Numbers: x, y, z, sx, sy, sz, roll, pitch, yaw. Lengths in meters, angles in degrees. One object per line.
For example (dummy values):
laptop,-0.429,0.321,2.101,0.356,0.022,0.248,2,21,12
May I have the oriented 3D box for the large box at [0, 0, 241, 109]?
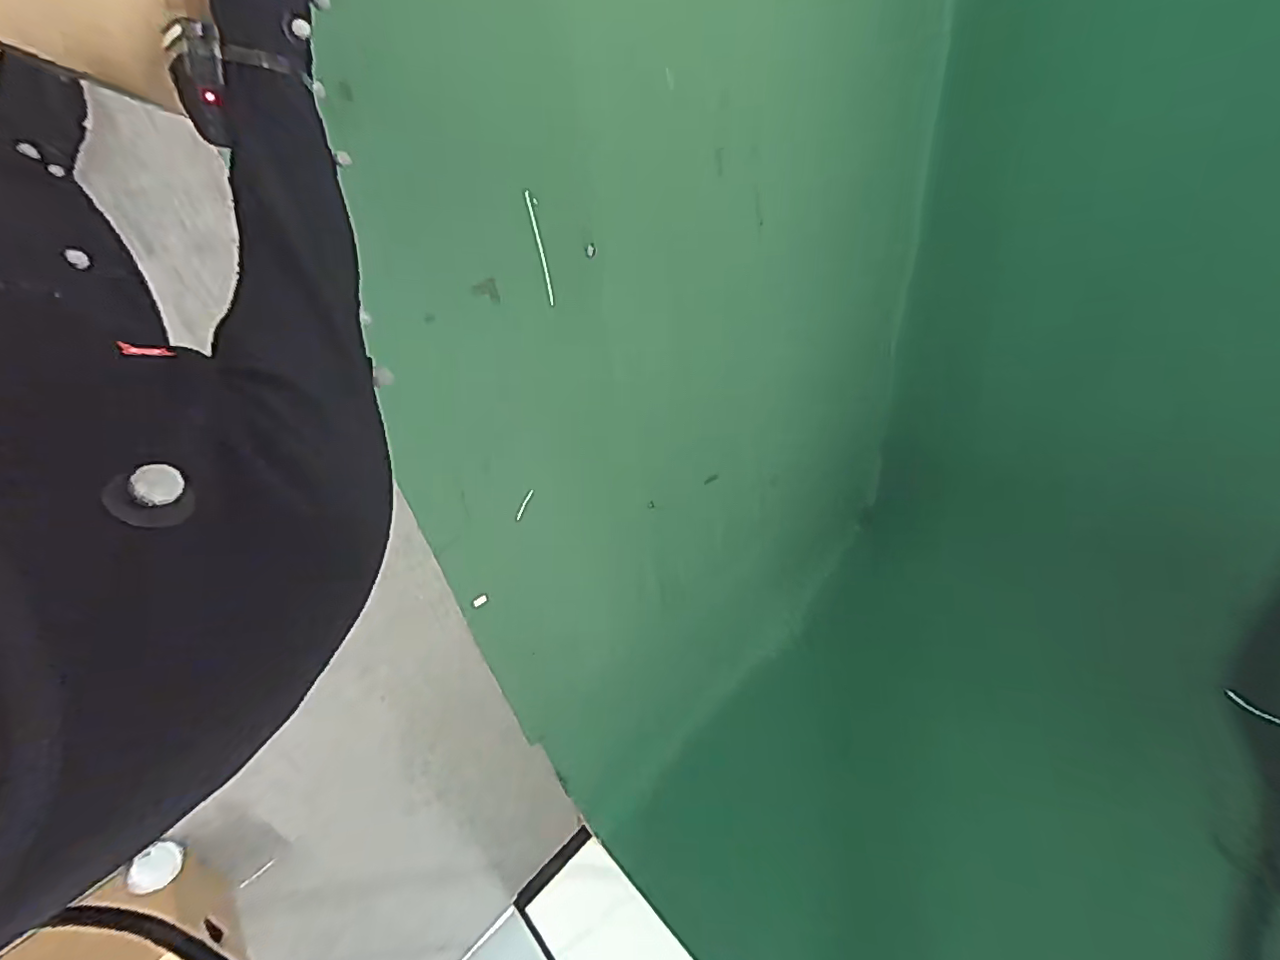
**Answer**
large box,-0.556,-0.531,0.375,0.408,0.320,0.320,-3,120,-52
